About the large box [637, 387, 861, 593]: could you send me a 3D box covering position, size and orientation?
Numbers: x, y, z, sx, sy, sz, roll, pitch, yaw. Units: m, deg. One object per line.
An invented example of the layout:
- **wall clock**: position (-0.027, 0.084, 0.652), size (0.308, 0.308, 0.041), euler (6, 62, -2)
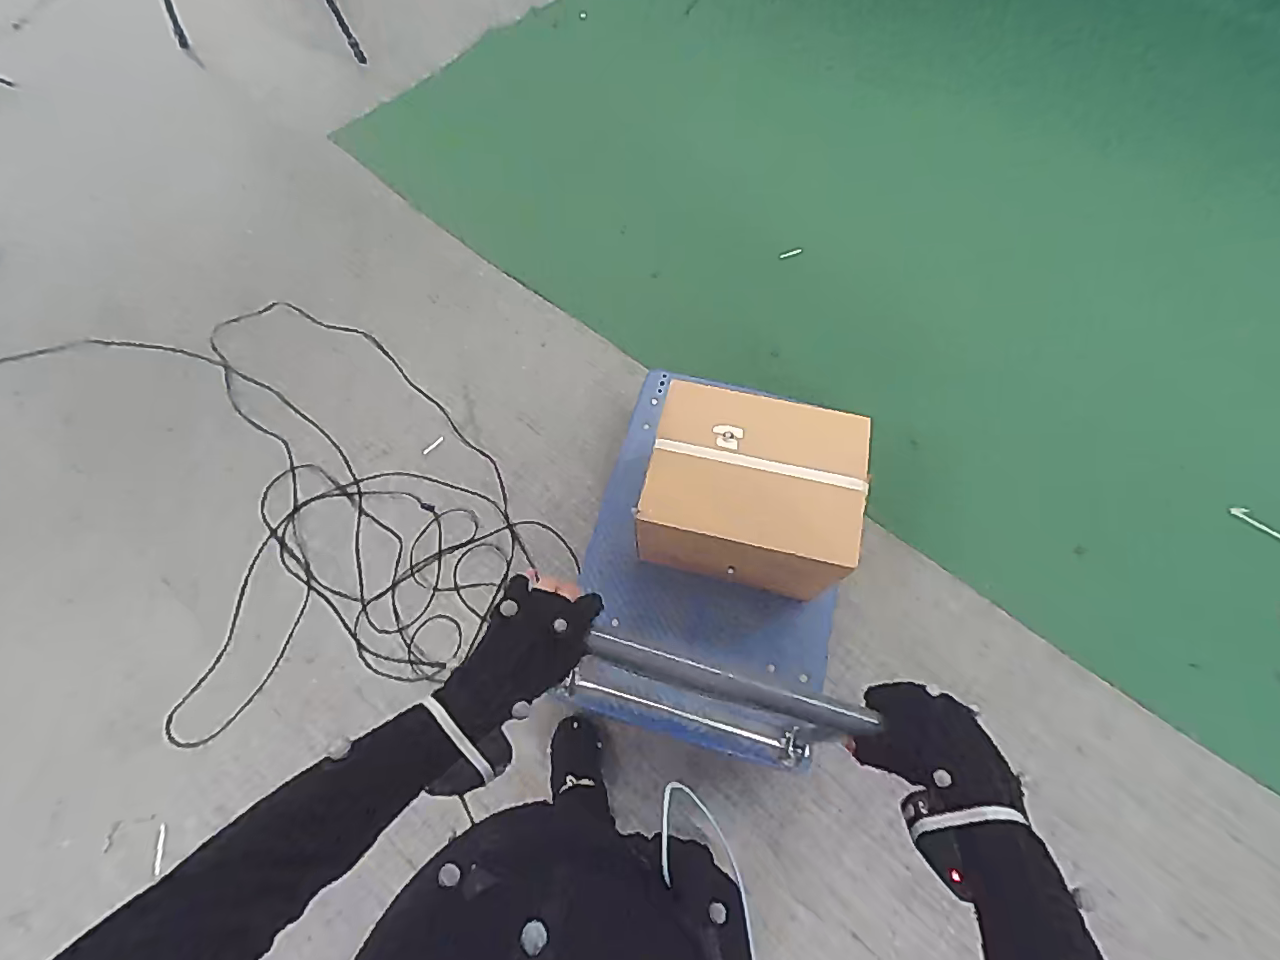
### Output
- **large box**: position (0.224, 0.036, 1.180), size (0.408, 0.320, 0.320), euler (11, 67, 7)
